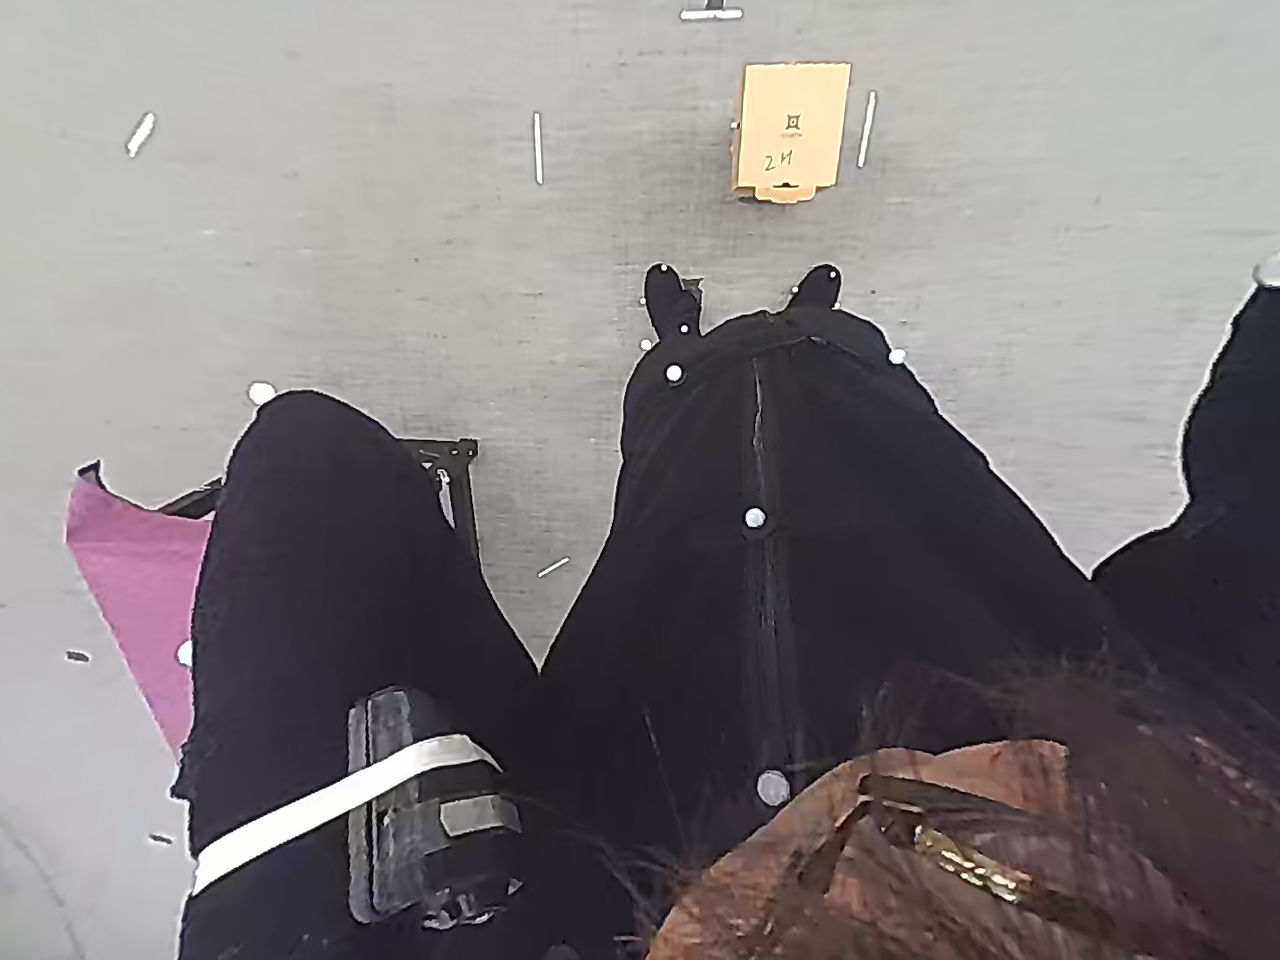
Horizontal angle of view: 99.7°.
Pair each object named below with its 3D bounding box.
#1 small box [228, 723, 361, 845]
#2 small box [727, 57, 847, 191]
[{"bbox_3d":[-0.766,0.683,1.224,0.168,0.176,0.179,-1,114,6],"label":"small box"},{"bbox_3d":[0.247,-0.617,0.955,0.168,0.176,0.179,2,115,4],"label":"small box"}]
